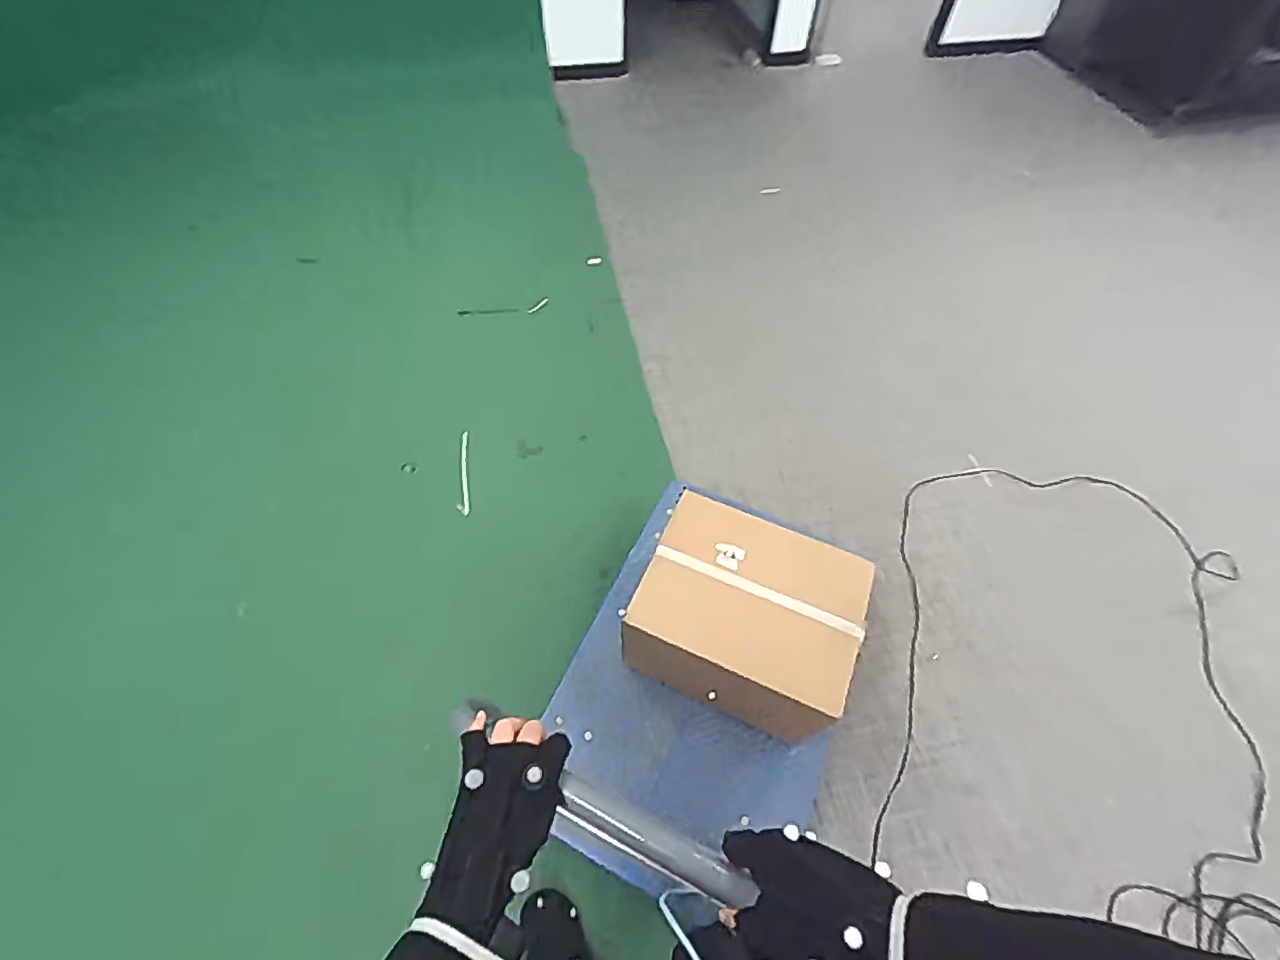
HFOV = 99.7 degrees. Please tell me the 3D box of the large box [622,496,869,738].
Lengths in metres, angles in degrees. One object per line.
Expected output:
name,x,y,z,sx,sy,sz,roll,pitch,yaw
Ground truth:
large box,0.209,0.296,1.148,0.408,0.320,0.320,21,58,13
